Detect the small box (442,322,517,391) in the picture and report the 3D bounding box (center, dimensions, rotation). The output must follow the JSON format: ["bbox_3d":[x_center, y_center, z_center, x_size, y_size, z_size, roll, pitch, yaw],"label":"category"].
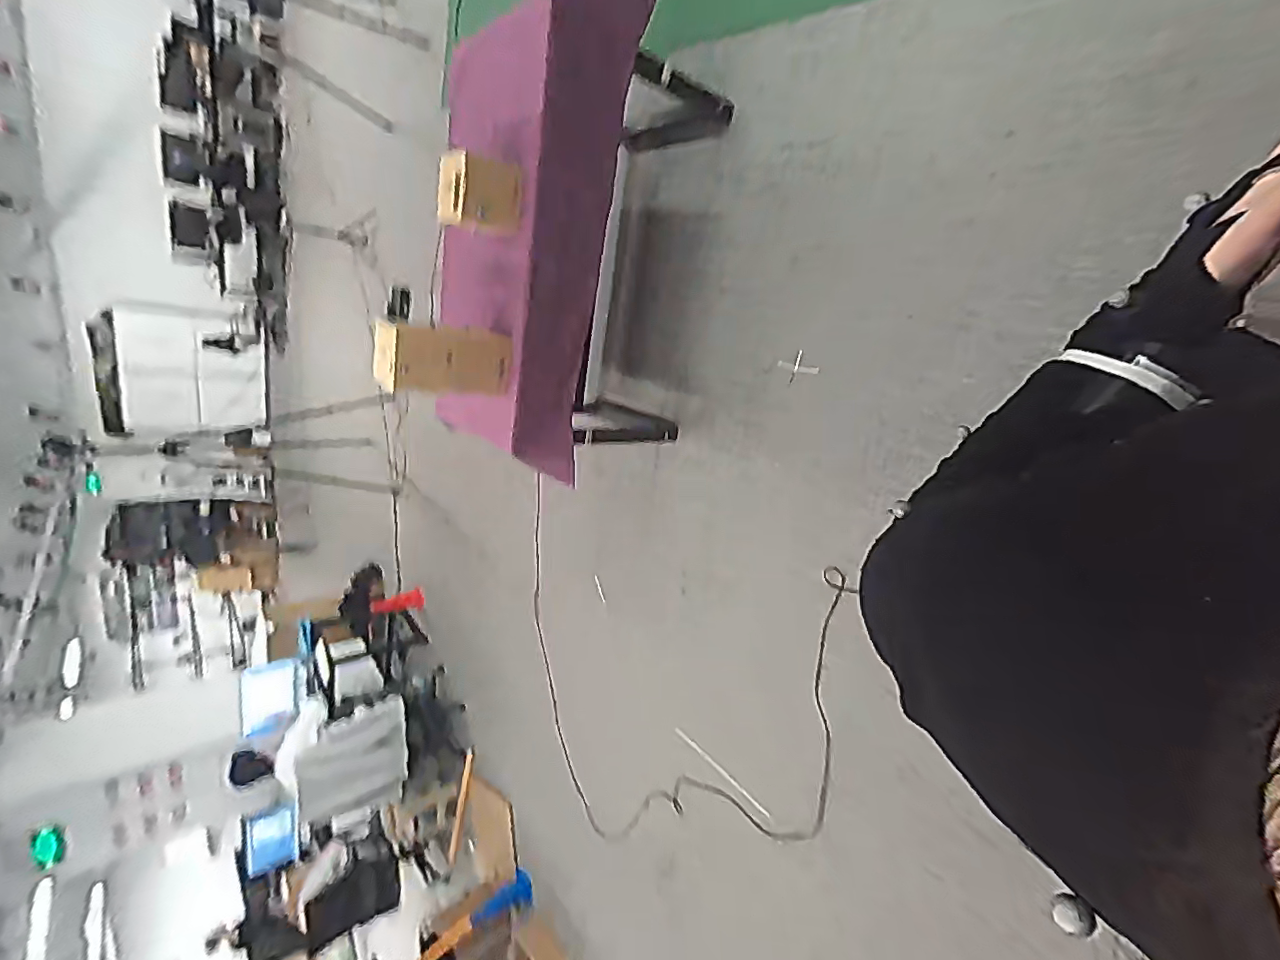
[{"bbox_3d":[-0.493,-0.368,1.627,0.179,0.176,0.168,31,116,42],"label":"small box"}]

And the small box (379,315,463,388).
[{"bbox_3d":[-0.617,-0.357,1.518,0.179,0.176,0.168,32,118,44],"label":"small box"}]
